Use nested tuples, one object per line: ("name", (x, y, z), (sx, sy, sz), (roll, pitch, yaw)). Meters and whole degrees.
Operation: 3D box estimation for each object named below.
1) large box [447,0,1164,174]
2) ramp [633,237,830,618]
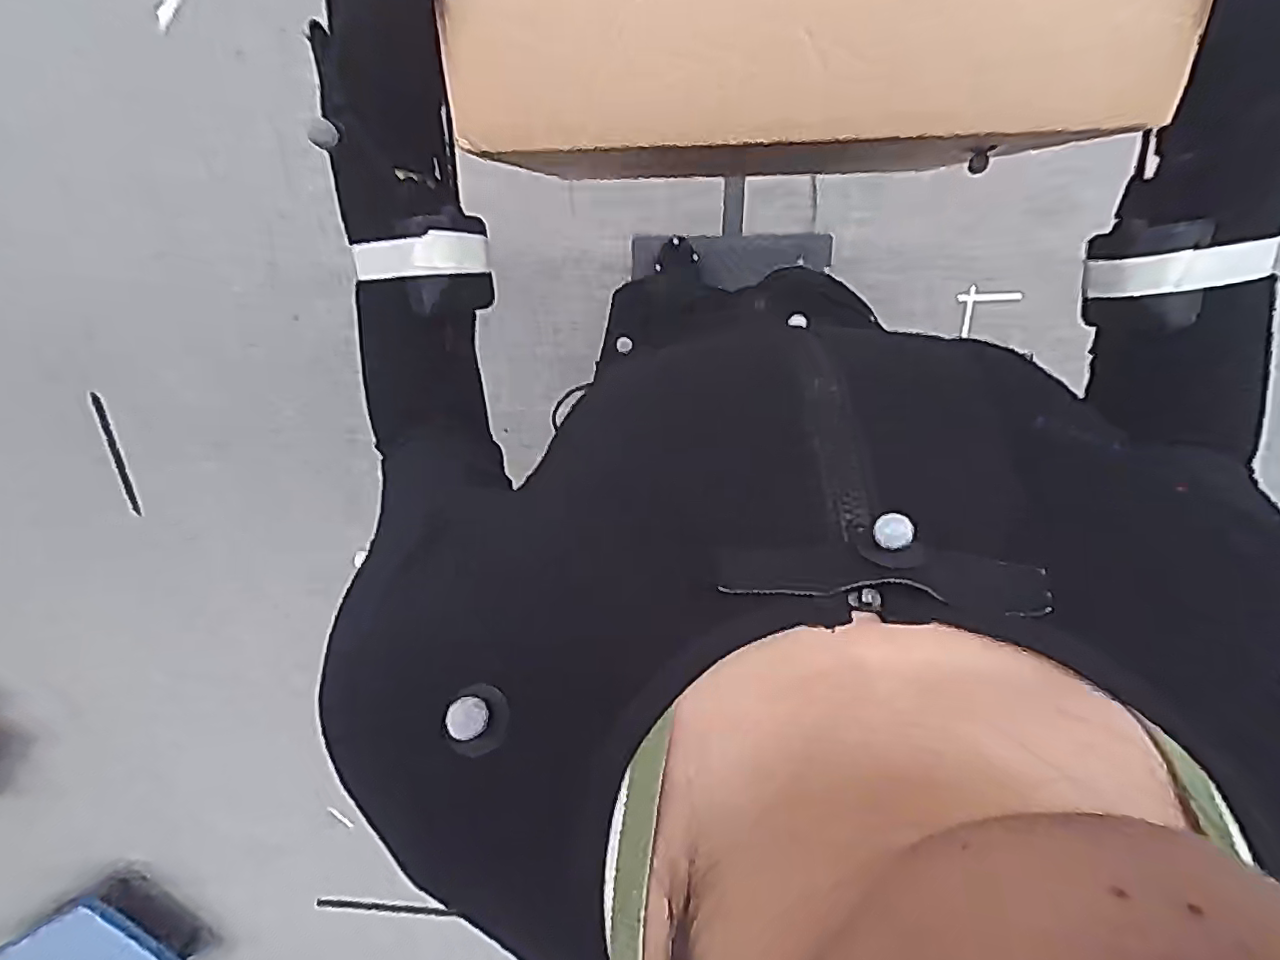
("large box", (0.094, -0.413, 0.394), (0.408, 0.320, 0.320), (0, 116, 4))
("ramp", (0.224, -0.114, 1.434), (0.509, 0.206, 0.991), (0, 110, 6))
